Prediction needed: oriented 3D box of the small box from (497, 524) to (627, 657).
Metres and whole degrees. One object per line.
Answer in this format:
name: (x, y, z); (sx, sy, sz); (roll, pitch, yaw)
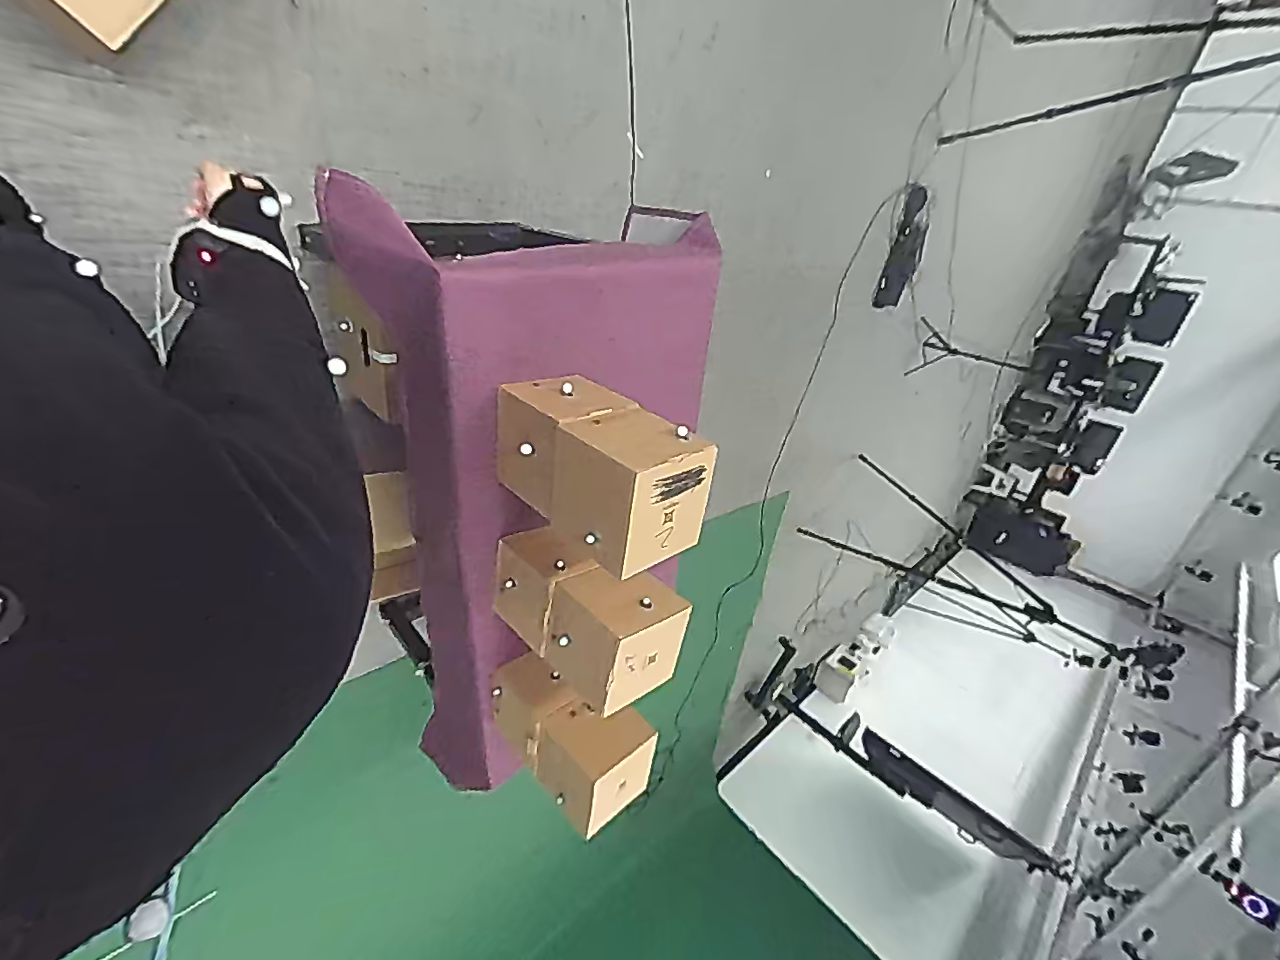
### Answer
small box: (-0.155, 0.203, 1.054); (0.179, 0.176, 0.168); (-12, 122, -43)

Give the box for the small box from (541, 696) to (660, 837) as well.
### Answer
small box: (-0.086, 0.559, 1.096); (0.168, 0.176, 0.179); (-18, 126, -42)

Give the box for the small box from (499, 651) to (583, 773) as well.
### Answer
small box: (-0.198, 0.489, 1.193); (0.179, 0.176, 0.168); (-19, 127, -41)

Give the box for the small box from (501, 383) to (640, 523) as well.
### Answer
small box: (-0.122, -0.057, 0.913); (0.168, 0.176, 0.179); (-17, 126, -40)

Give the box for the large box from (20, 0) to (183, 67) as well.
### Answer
large box: (-0.819, -0.847, 0.695); (0.320, 0.320, 0.408); (-54, 143, -5)

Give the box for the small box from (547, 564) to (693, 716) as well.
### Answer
small box: (-0.038, 0.270, 0.958); (0.179, 0.176, 0.168); (-11, 121, -43)
